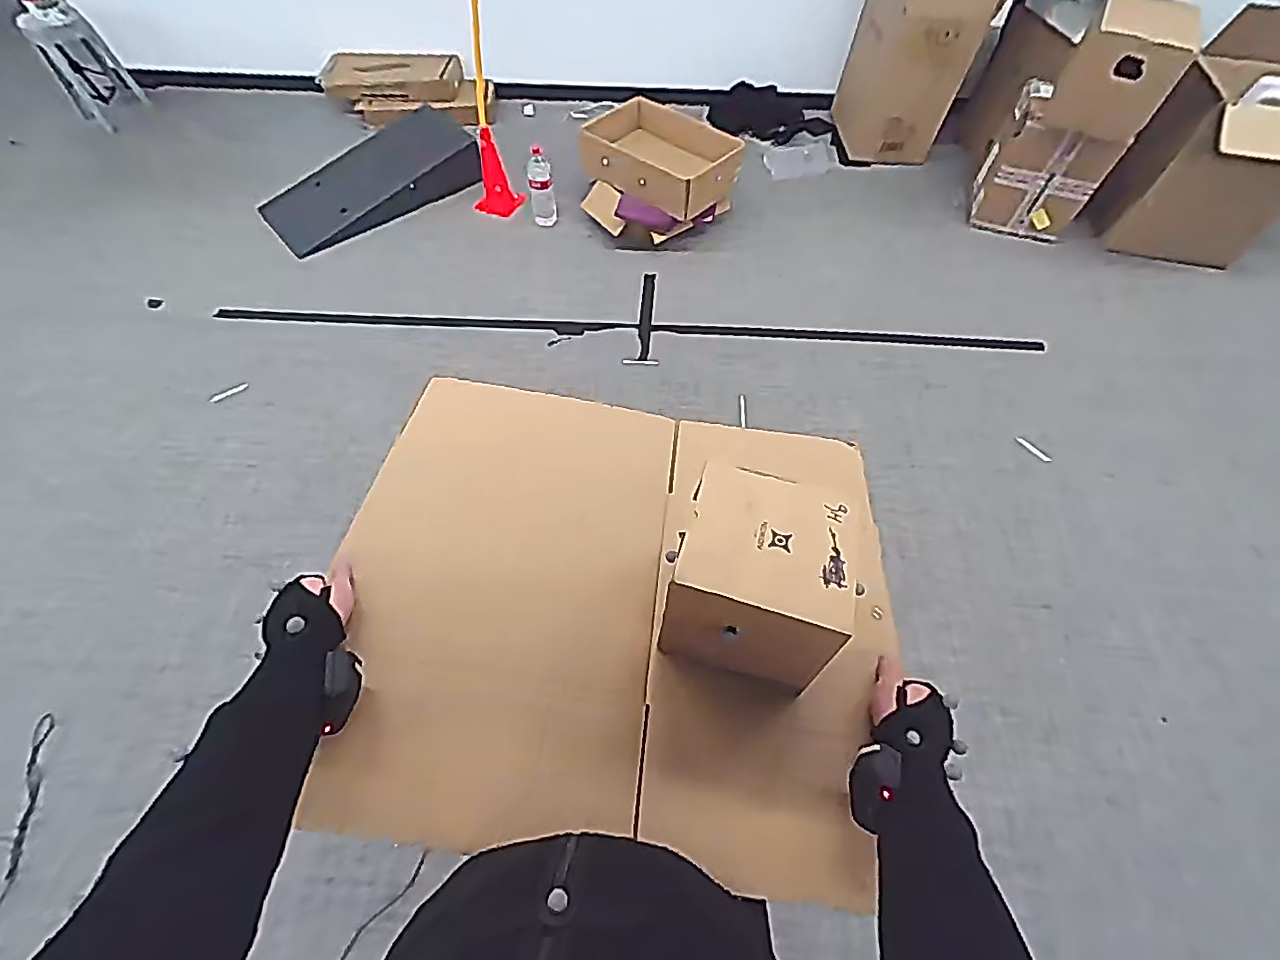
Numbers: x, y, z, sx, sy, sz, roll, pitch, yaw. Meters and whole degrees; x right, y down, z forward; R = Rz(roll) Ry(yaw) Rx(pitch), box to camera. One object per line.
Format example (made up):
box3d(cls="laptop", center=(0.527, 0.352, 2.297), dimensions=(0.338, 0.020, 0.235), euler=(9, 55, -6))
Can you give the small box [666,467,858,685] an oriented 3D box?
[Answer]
box3d(cls="small box", center=(0.133, 0.114, 0.626), dimensions=(0.179, 0.176, 0.168), euler=(14, 52, 9))
